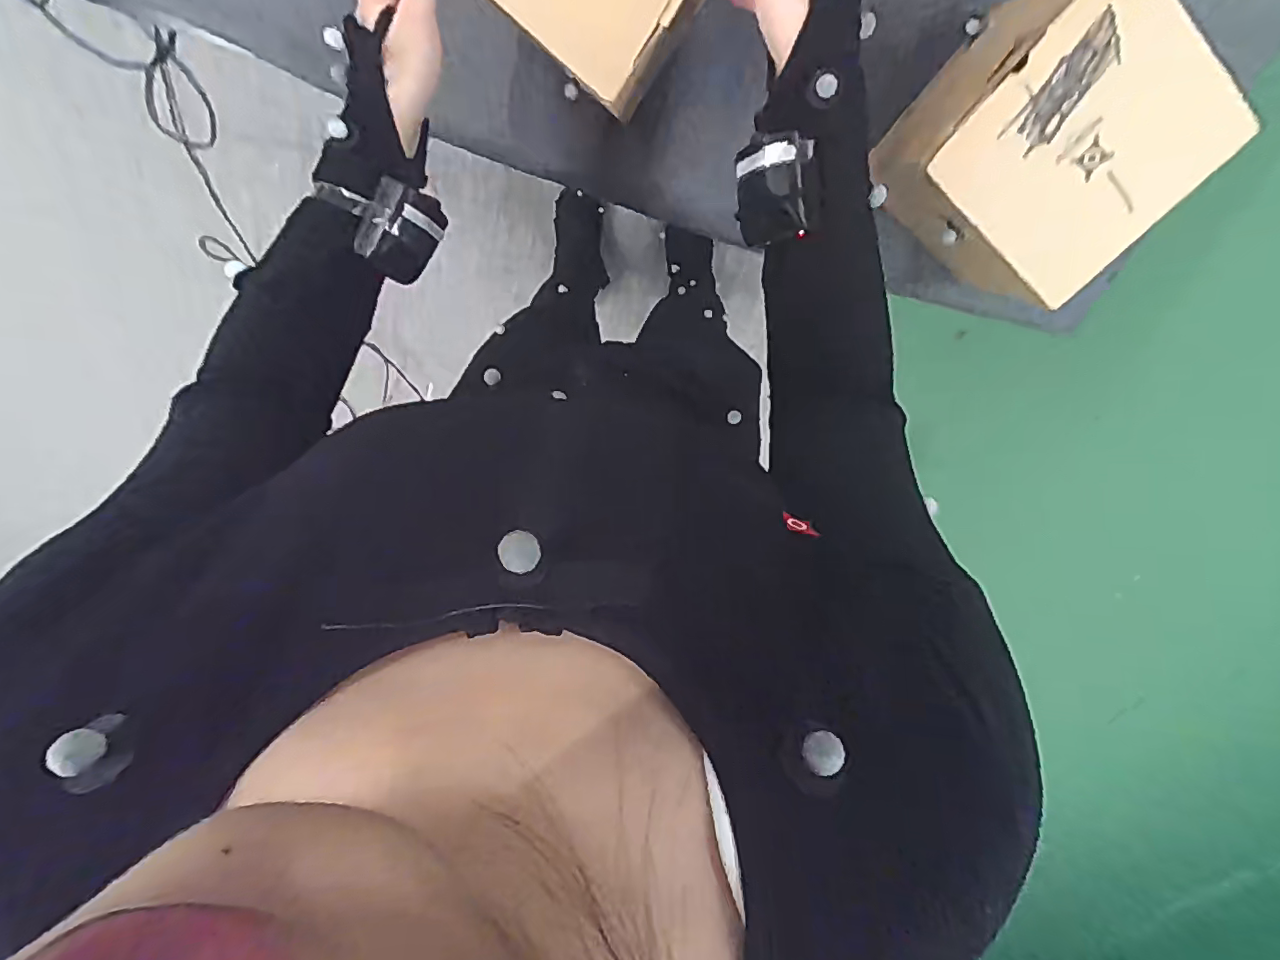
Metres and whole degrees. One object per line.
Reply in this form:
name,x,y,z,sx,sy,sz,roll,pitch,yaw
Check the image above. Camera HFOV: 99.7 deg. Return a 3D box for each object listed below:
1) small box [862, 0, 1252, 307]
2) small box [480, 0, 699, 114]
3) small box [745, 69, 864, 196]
small box,0.329,-0.282,0.469,0.179,0.176,0.168,35,115,-16
small box,-0.040,-0.417,0.416,0.179,0.176,0.168,34,115,-14
small box,0.315,-0.688,1.081,0.168,0.176,0.179,11,122,-4
